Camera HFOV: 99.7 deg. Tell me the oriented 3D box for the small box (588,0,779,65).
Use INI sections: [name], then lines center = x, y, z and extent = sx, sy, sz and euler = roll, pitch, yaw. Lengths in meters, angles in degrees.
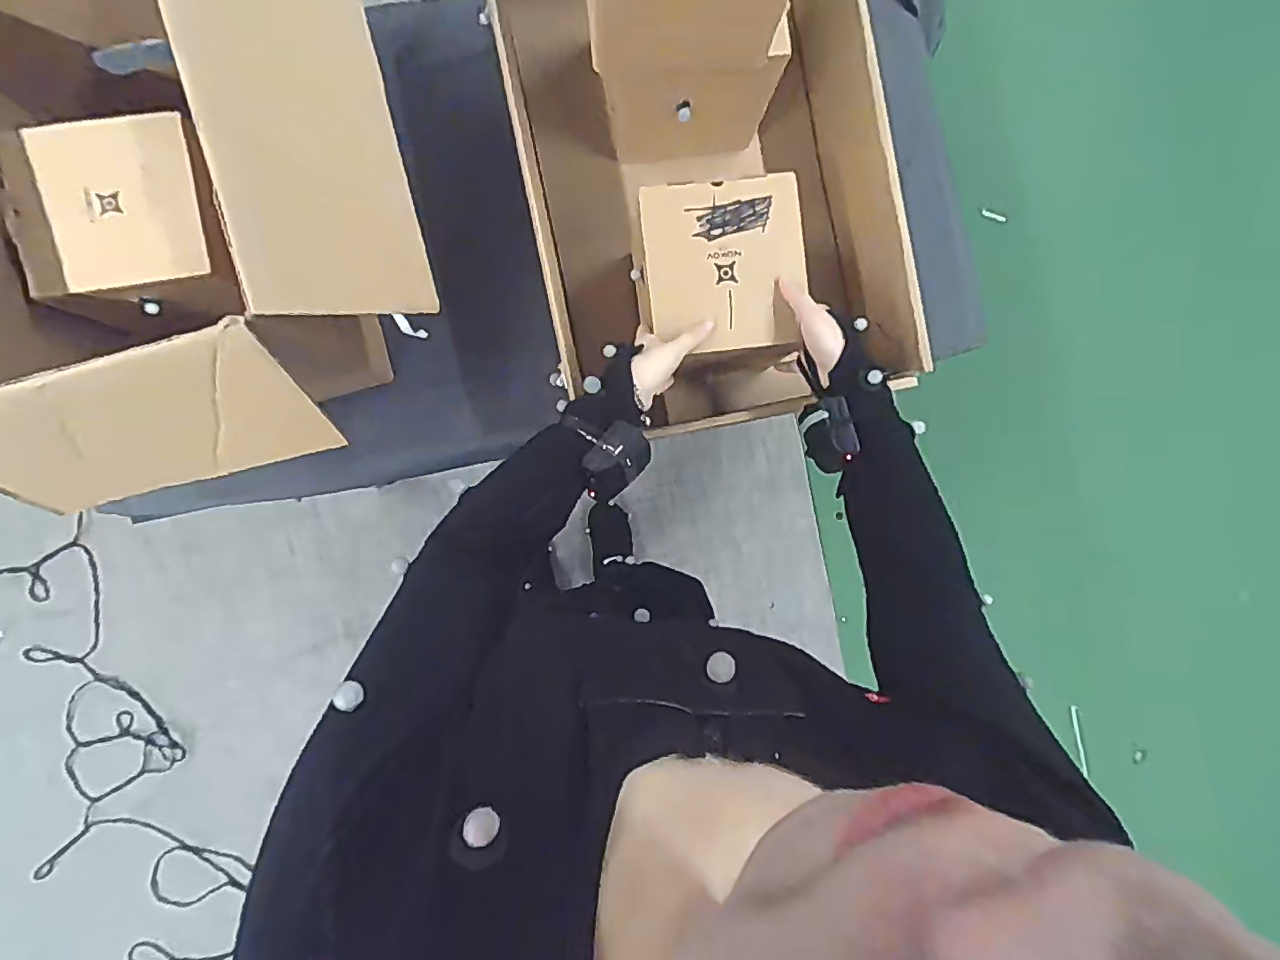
[small box]
center = 0.037, -0.494, 0.461
extent = 0.179, 0.176, 0.168
euler = -5, 93, -4
